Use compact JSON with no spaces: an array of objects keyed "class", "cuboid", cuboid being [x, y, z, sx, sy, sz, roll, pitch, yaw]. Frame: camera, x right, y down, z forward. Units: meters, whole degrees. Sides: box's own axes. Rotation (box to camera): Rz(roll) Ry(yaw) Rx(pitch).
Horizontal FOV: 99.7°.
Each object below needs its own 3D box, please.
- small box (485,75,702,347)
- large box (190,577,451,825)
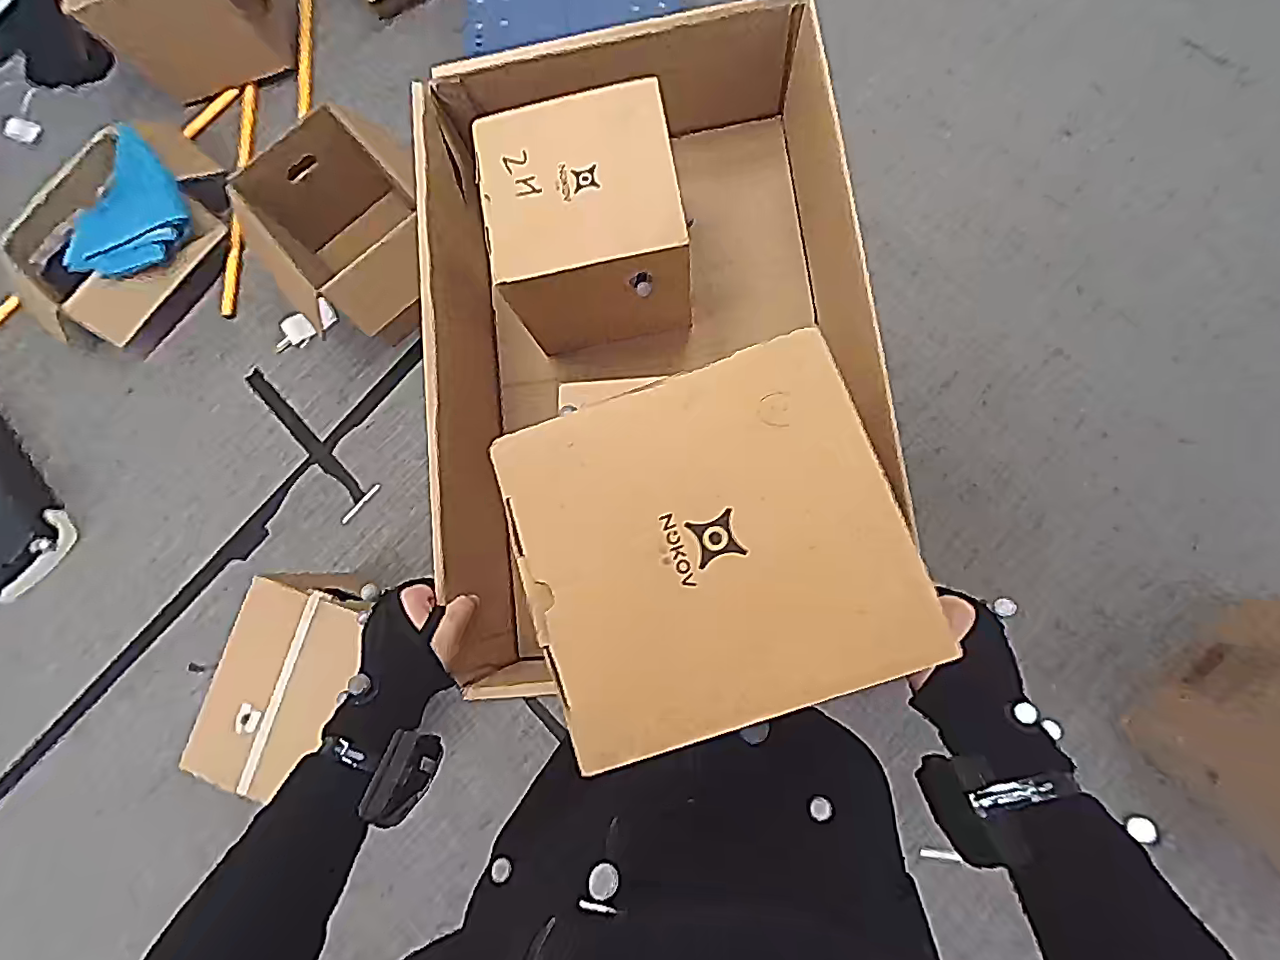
[{"class":"small box","cuboid":[-0.037,-0.253,0.549,0.179,0.176,0.168,-10,81,4]},{"class":"large box","cuboid":[-0.687,0.457,1.226,0.320,0.320,0.408,16,84,9]}]
